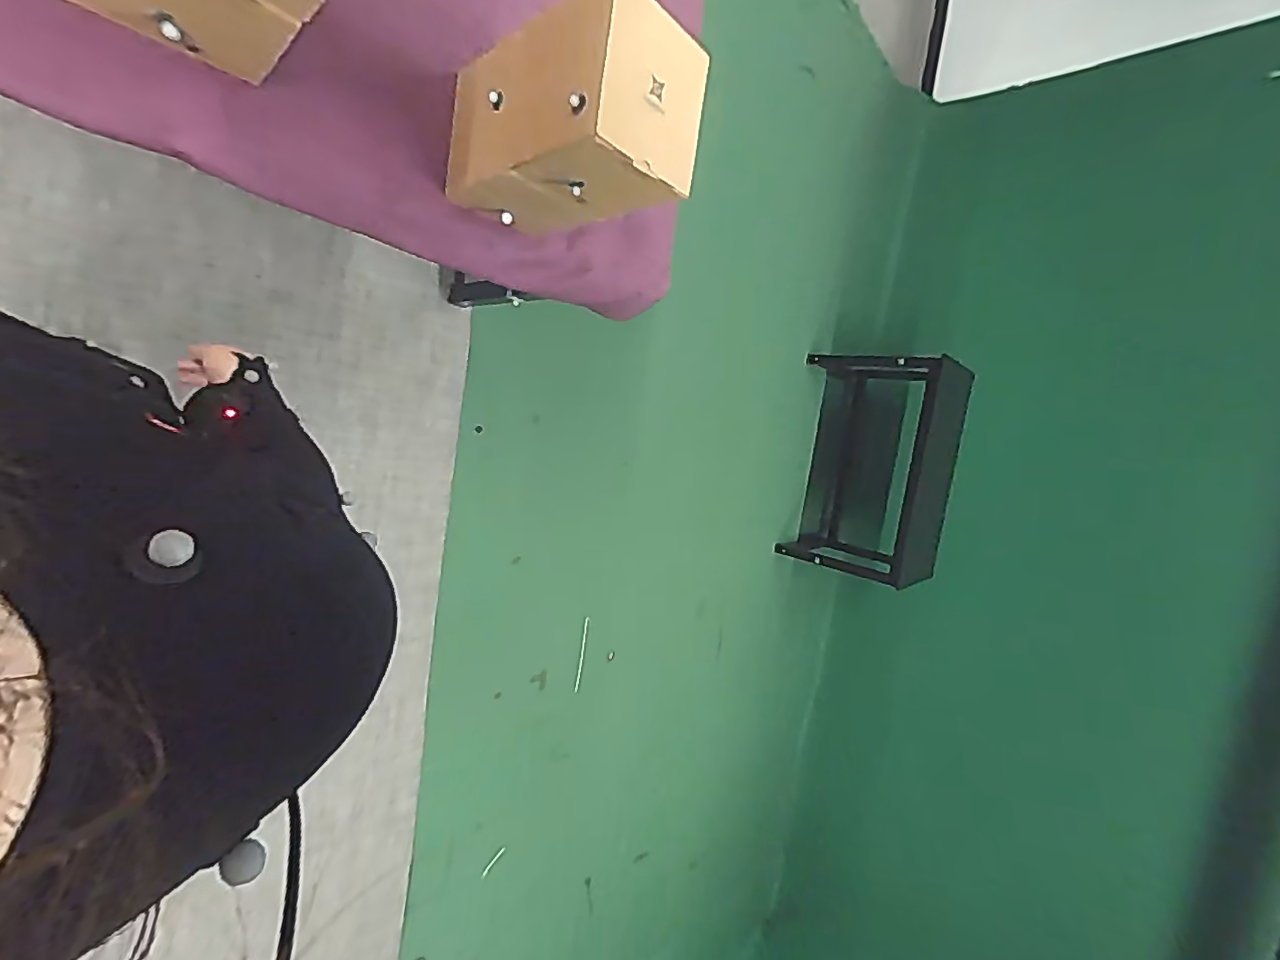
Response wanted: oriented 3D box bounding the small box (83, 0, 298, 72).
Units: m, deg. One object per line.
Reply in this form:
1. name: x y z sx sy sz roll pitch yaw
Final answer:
1. small box: -0.424 -0.527 0.489 0.168 0.176 0.179 0 99 -48

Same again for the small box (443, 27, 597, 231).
1. small box: -0.167 -0.487 0.786 0.168 0.176 0.179 2 98 -48

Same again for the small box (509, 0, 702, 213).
1. small box: -0.047 -0.465 0.680 0.168 0.176 0.179 2 99 -48
